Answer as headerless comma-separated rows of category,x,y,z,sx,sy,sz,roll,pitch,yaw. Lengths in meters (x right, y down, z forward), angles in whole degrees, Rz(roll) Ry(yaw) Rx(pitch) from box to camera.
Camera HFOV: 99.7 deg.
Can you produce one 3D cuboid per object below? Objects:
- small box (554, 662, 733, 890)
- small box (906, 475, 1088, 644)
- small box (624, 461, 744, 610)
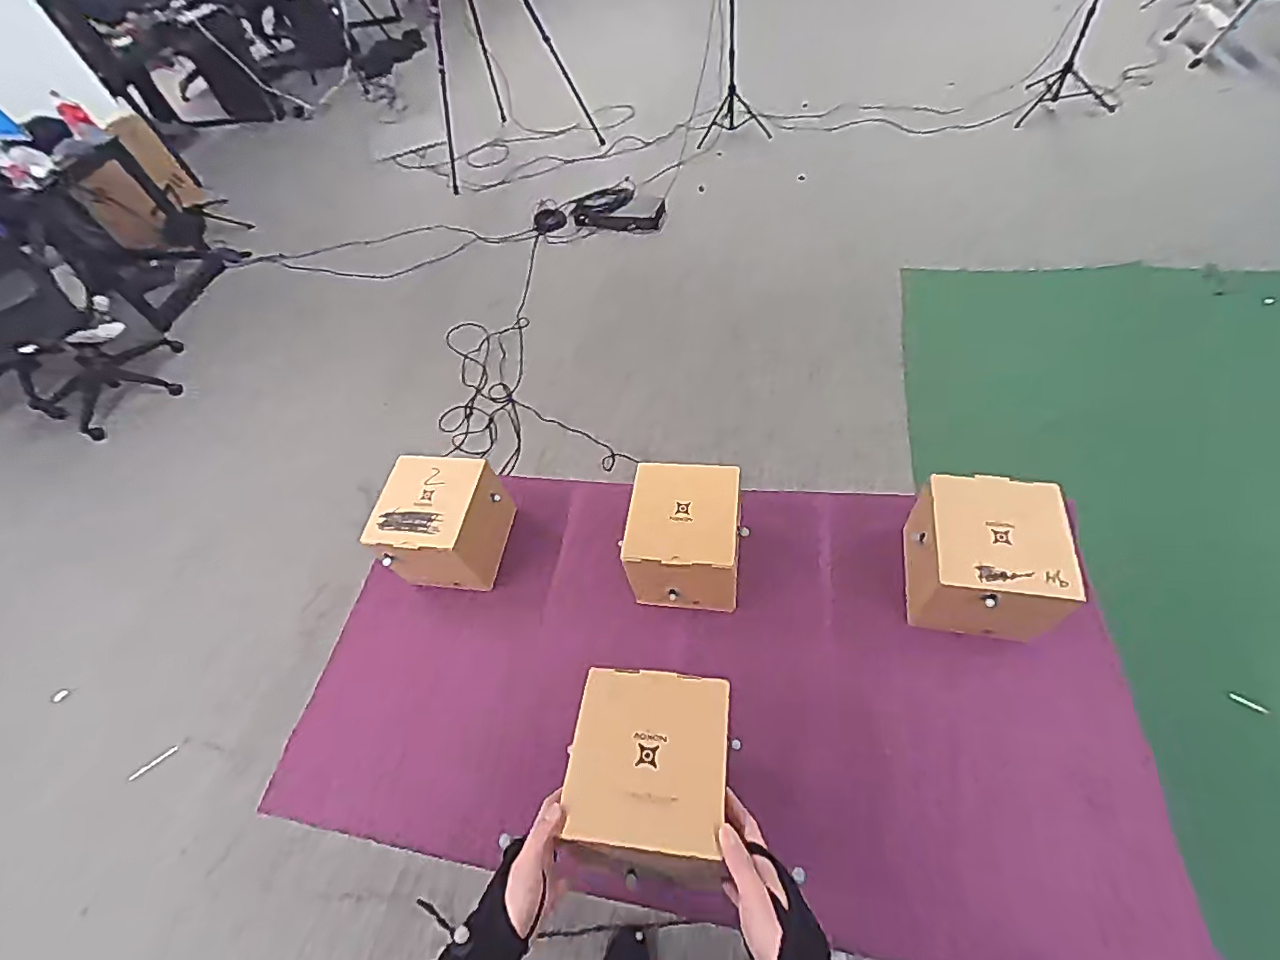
small box,0.015,0.336,0.618,0.168,0.176,0.179,3,46,10
small box,0.497,0.117,0.786,0.168,0.176,0.179,5,57,14
small box,0.077,0.091,0.873,0.168,0.176,0.179,3,57,11
